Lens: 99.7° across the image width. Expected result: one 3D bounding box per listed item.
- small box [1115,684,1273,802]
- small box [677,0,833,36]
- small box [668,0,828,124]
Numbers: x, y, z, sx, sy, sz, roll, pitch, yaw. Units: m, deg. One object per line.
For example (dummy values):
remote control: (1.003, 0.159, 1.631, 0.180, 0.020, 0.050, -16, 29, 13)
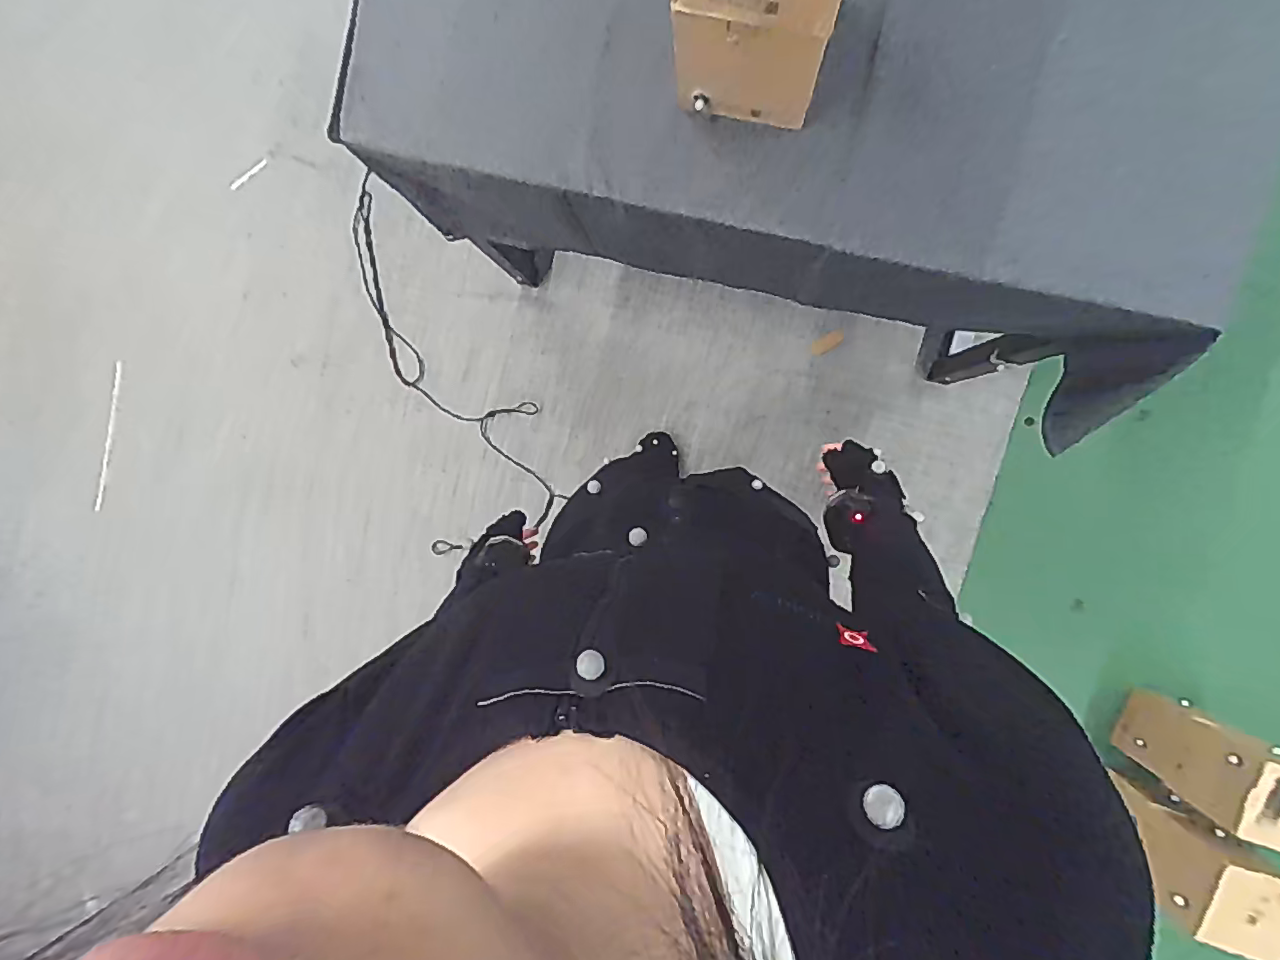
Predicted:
small box: (1.302, 0.613, 1.288, 0.179, 0.176, 0.168, 20, 96, 5)
small box: (0.119, -0.546, 0.467, 0.168, 0.176, 0.179, 15, 95, 5)
small box: (0.137, -0.557, 0.628, 0.168, 0.176, 0.179, 14, 94, 6)
